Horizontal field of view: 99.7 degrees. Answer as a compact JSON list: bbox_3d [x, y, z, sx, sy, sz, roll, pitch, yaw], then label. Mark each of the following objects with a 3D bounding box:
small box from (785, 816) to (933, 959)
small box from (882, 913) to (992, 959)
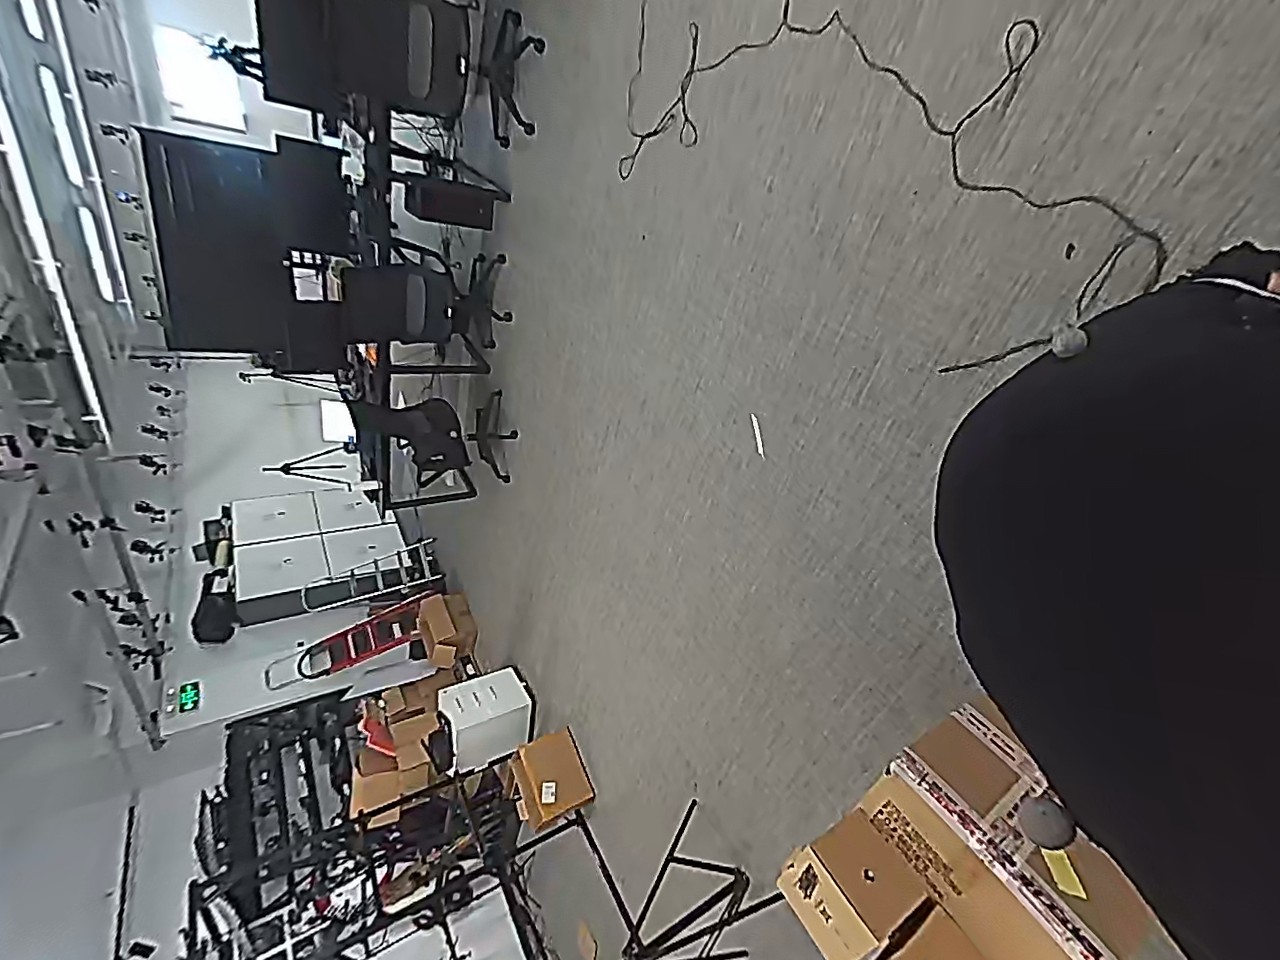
[{"bbox_3d":[0.429,0.804,1.070,0.179,0.176,0.168,48,133,41],"label":"small box"},{"bbox_3d":[0.528,0.908,0.944,0.179,0.176,0.168,46,132,38],"label":"small box"}]
